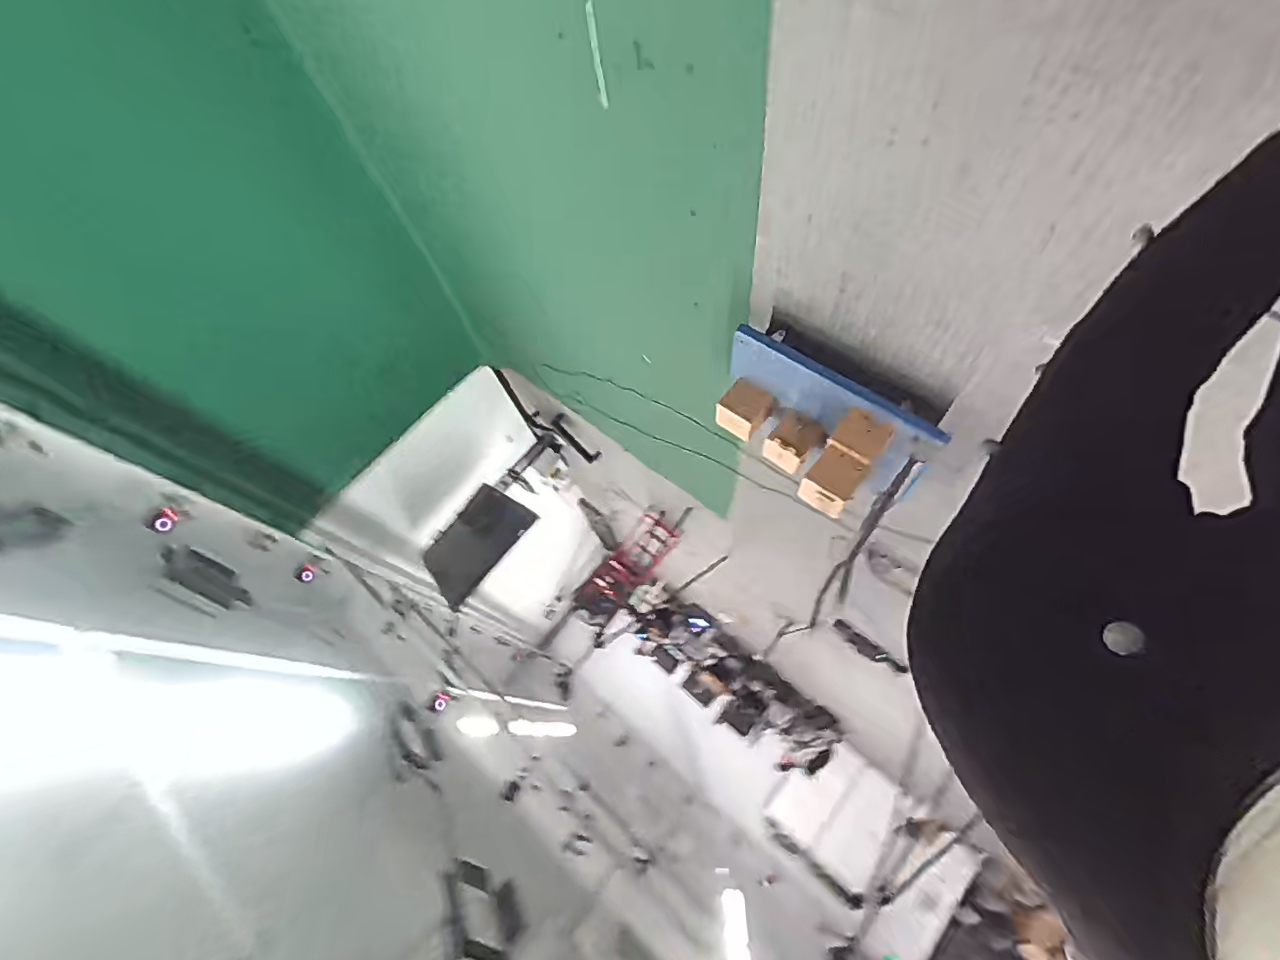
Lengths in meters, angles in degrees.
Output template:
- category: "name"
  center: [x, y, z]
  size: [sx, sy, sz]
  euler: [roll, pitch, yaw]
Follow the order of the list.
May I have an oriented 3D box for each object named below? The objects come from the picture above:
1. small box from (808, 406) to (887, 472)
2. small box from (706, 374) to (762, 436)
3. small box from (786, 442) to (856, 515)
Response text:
- category: "small box"
  center: [0.766, -0.143, 1.990]
  size: [0.179, 0.176, 0.168]
  euler: [44, 163, -10]
- category: "small box"
  center: [0.406, -0.327, 2.339]
  size: [0.179, 0.176, 0.168]
  euler: [36, 163, 18]
- category: "small box"
  center: [0.658, -0.009, 1.966]
  size: [0.168, 0.176, 0.179]
  euler: [37, 165, 20]
